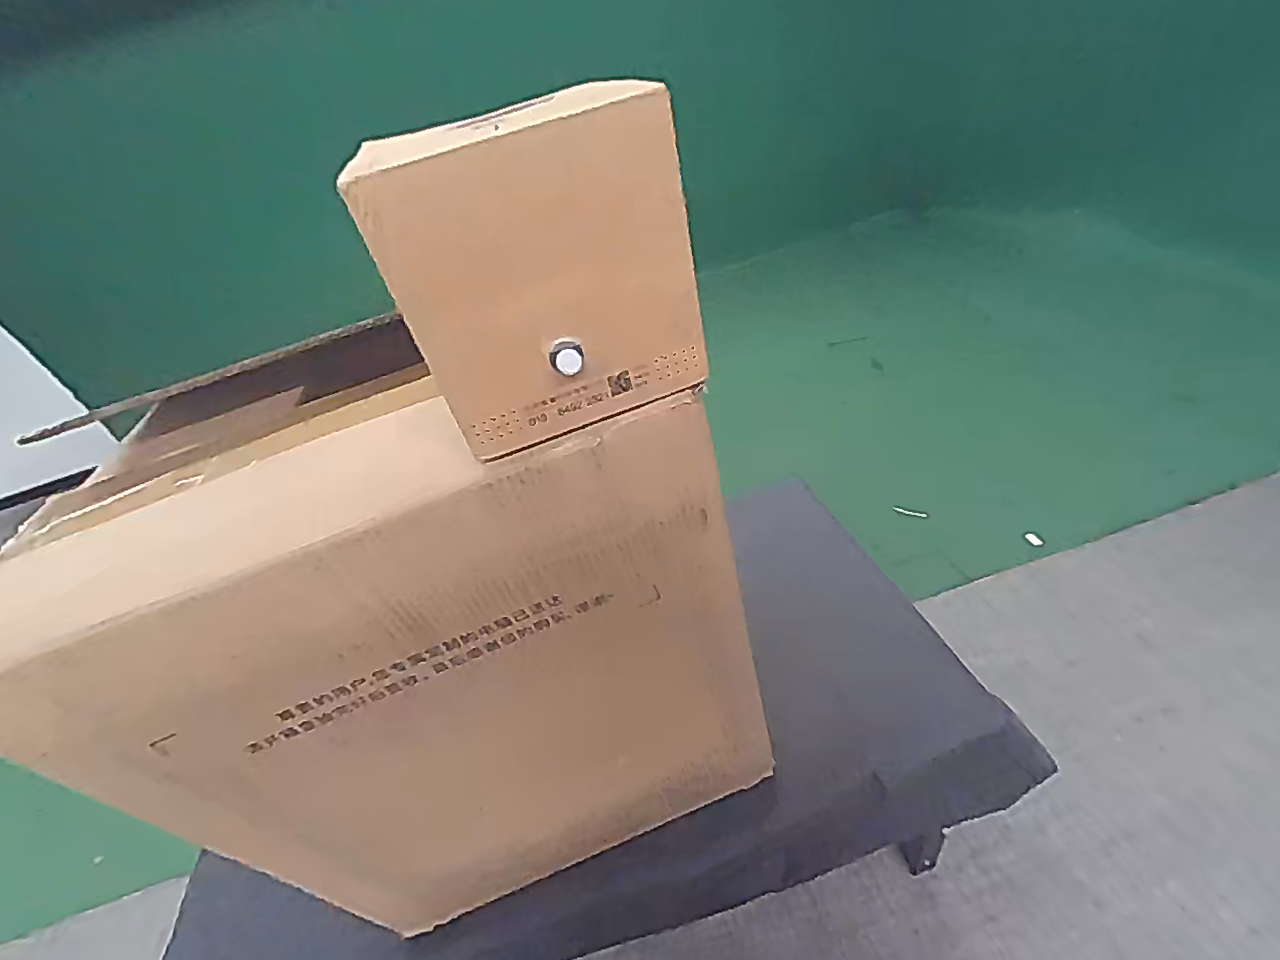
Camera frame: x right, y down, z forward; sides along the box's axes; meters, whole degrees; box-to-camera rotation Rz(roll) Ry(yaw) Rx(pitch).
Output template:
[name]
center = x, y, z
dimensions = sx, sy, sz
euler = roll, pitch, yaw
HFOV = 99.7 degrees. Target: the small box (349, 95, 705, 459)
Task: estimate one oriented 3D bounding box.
[small box]
center = -0.067, -0.143, 0.373
dimensions = 0.168, 0.176, 0.179
euler = -20, 40, -6
